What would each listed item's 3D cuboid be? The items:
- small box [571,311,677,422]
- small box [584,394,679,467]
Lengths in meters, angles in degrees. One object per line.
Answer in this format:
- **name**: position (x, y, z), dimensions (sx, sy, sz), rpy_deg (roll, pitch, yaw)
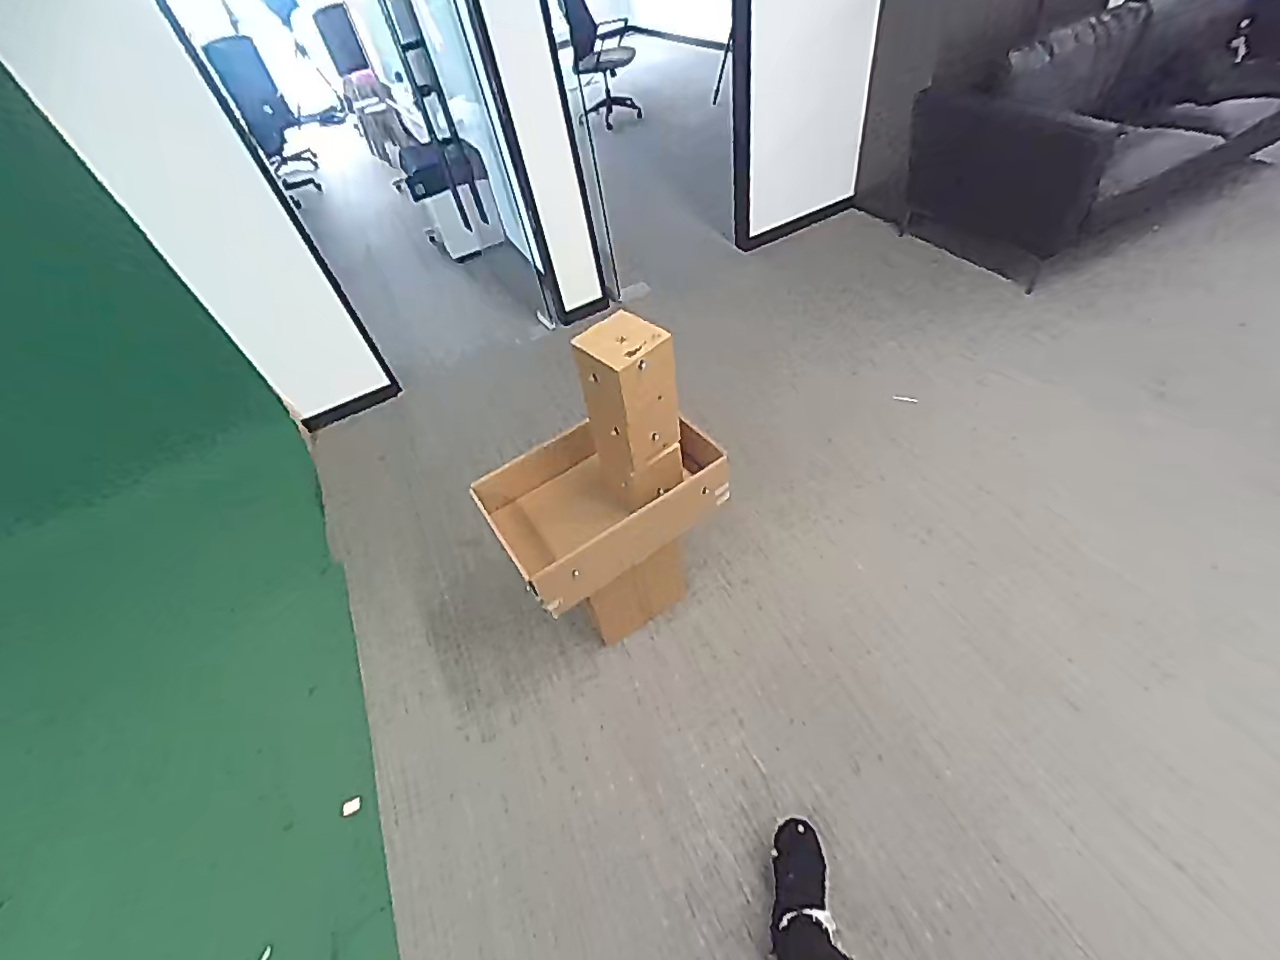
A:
- **small box**: position (-0.032, -0.264, 1.274), dimensions (0.168, 0.176, 0.179), rpy_deg (-39, 53, -22)
- **small box**: position (-0.015, -0.157, 1.396), dimensions (0.168, 0.176, 0.179), rpy_deg (-36, 53, -22)
